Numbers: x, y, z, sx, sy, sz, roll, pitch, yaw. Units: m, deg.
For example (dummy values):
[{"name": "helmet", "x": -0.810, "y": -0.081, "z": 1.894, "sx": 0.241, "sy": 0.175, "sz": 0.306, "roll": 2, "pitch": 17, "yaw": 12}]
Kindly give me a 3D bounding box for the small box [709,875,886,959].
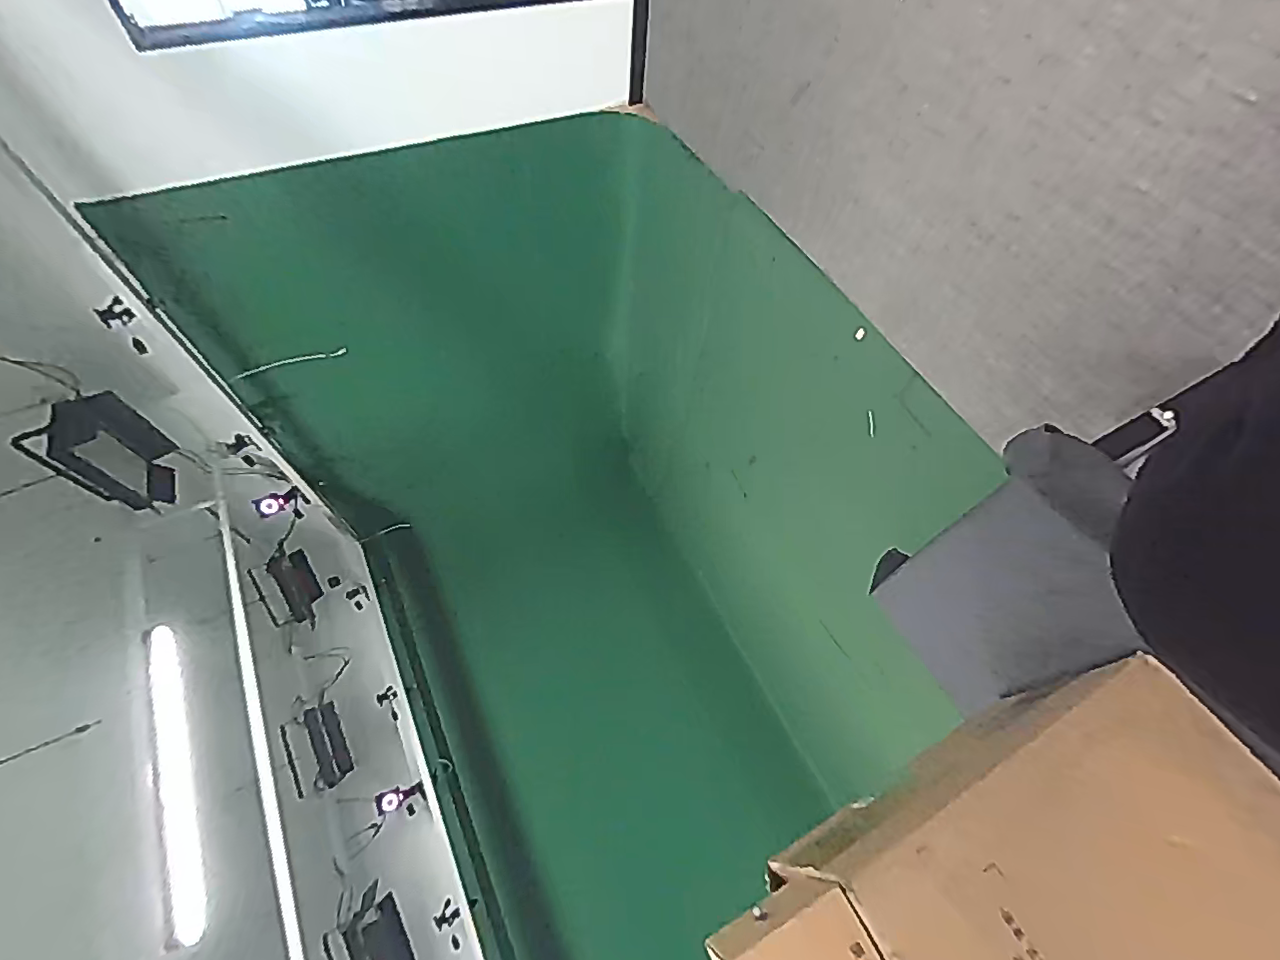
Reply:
[{"name": "small box", "x": 0.211, "y": 0.636, "z": 0.685, "sx": 0.168, "sy": 0.176, "sz": 0.179, "roll": 59, "pitch": 160, "yaw": 28}]
